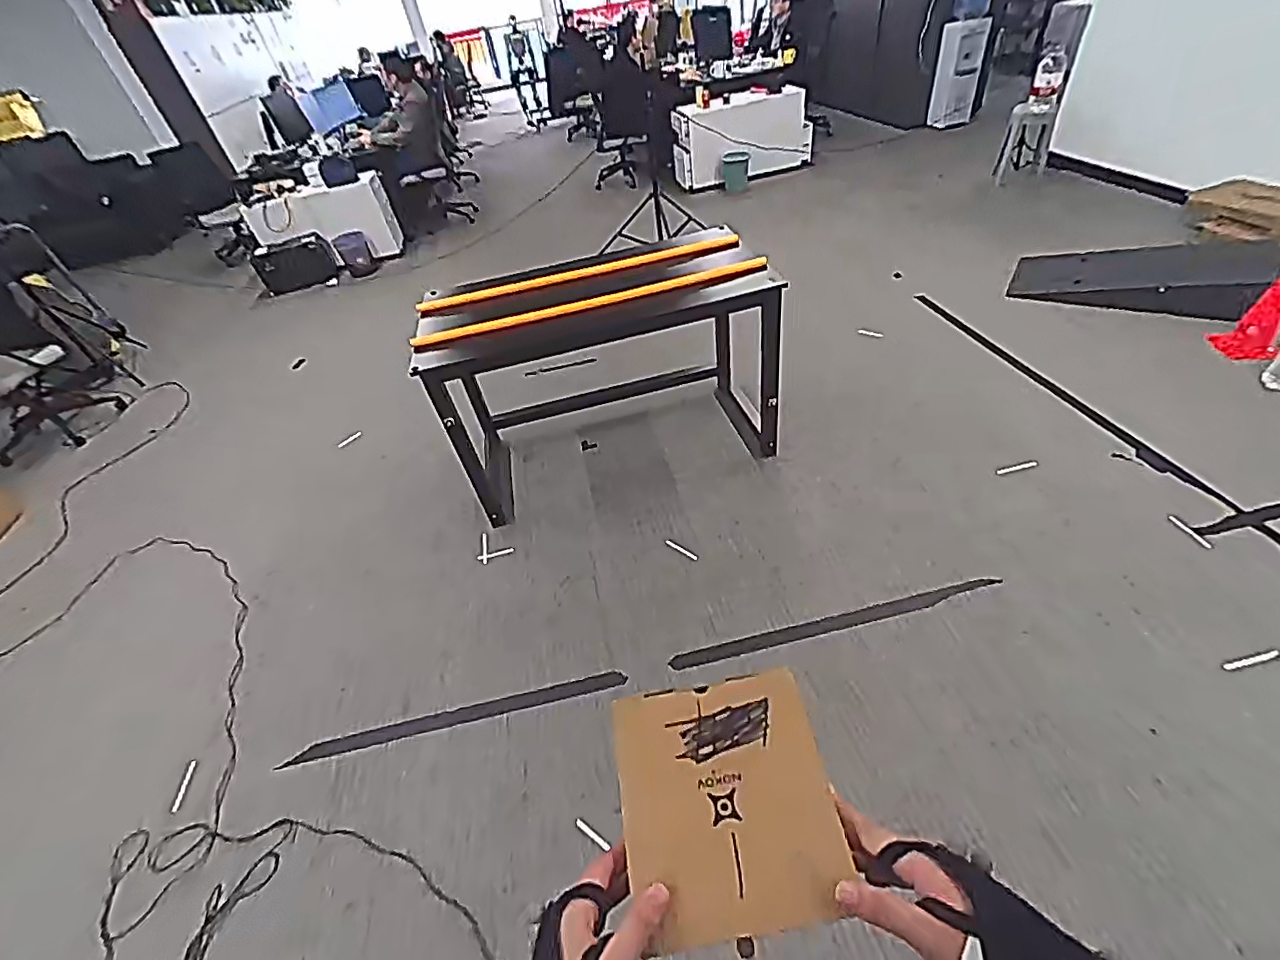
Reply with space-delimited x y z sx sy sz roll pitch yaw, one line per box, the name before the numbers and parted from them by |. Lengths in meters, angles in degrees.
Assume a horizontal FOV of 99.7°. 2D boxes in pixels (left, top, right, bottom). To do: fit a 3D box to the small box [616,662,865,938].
small box | 0.078 0.293 0.496 0.168 0.176 0.179 -12 52 1
